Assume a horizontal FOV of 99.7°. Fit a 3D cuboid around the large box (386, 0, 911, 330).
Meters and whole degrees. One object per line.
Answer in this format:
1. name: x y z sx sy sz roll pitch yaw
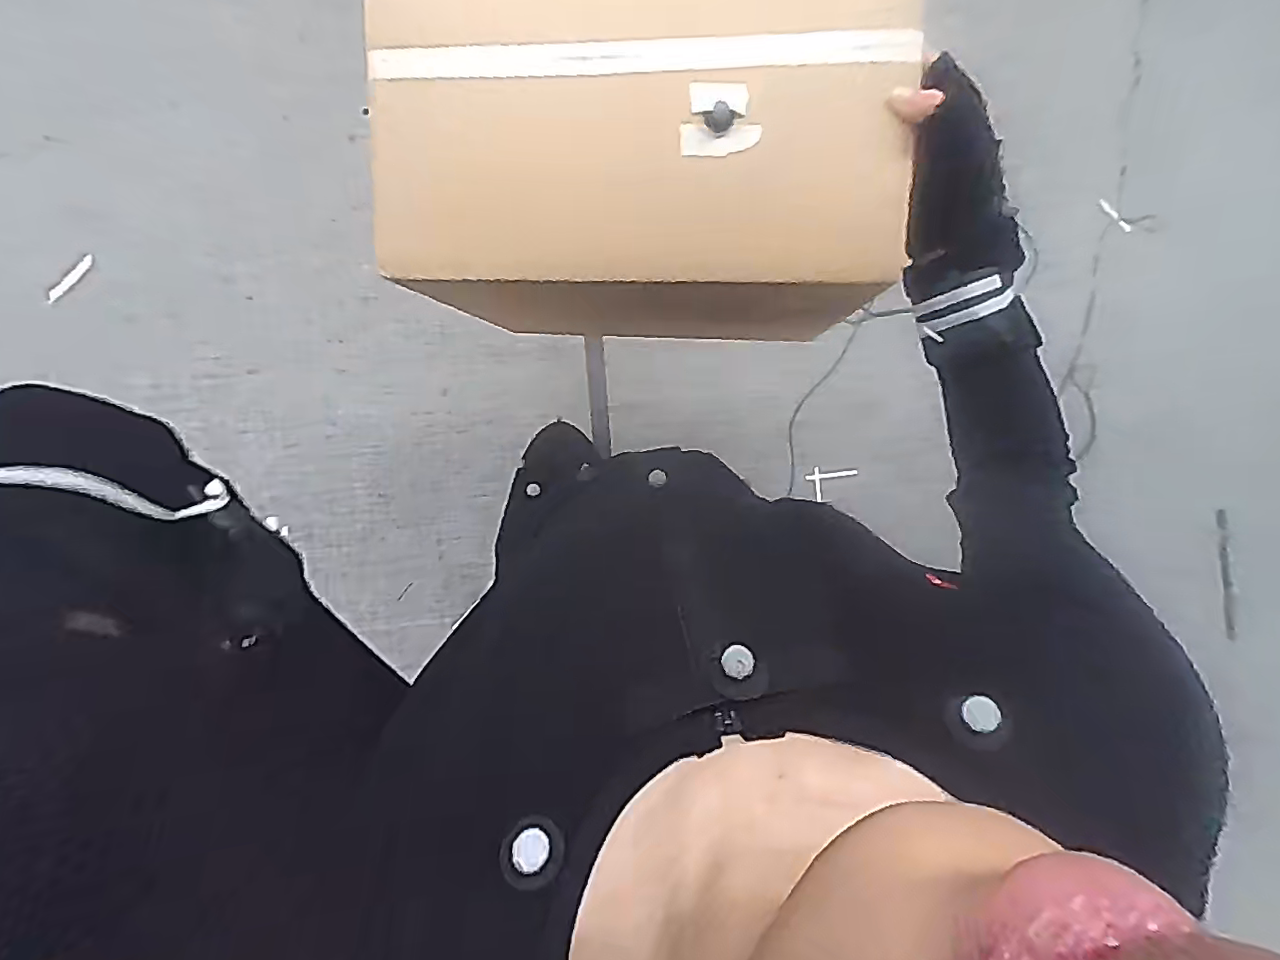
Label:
1. large box: 0.010 -0.336 0.557 0.408 0.320 0.320 2 98 5
